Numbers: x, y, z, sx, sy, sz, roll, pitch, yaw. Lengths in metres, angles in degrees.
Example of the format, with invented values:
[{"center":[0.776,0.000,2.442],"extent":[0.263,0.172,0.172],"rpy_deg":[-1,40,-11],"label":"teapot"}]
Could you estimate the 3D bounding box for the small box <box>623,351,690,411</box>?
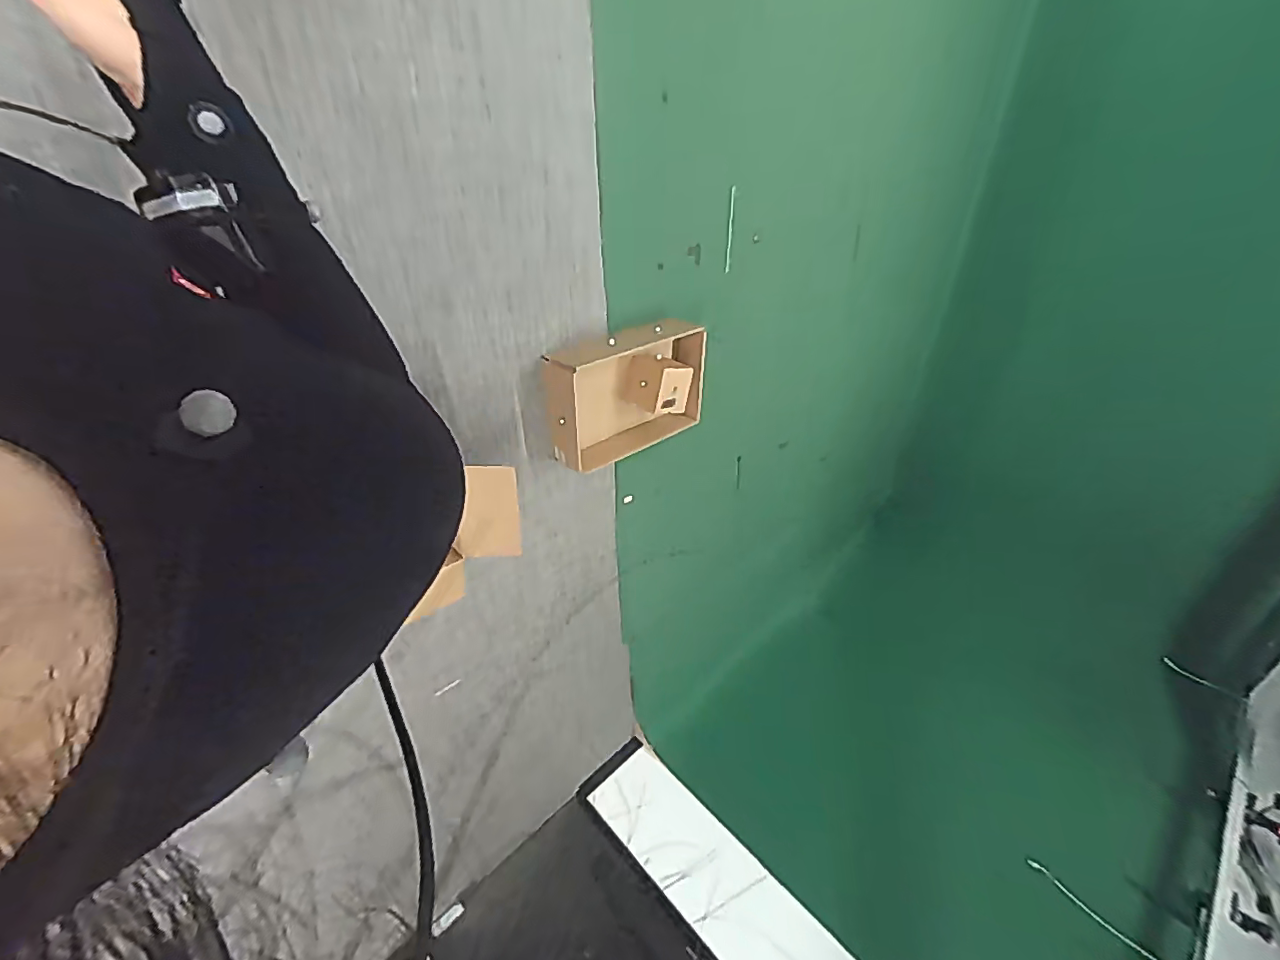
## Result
[{"center":[0.055,-0.370,2.021],"extent":[0.168,0.176,0.179],"rpy_deg":[-11,123,-43],"label":"small box"}]
